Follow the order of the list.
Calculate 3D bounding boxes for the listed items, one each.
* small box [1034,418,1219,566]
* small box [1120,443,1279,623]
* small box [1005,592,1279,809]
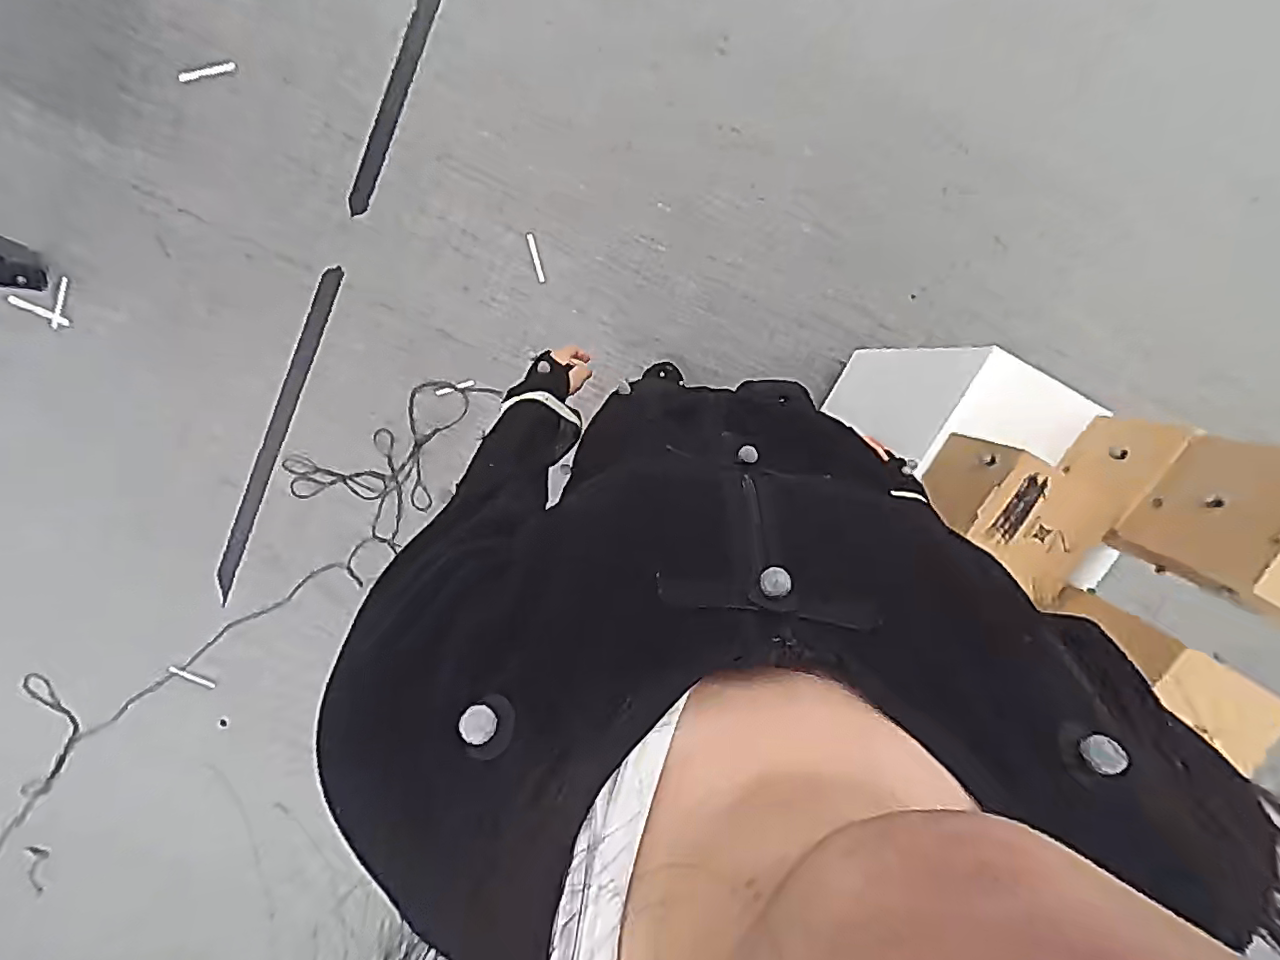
[{"bbox_3d":[0.763,0.019,0.820,0.179,0.176,0.168,30,102,-7],"label":"small box"},{"bbox_3d":[0.765,0.067,0.663,0.179,0.176,0.168,30,101,-7],"label":"small box"},{"bbox_3d":[0.644,0.274,0.711,0.179,0.176,0.168,29,100,-5],"label":"small box"}]
